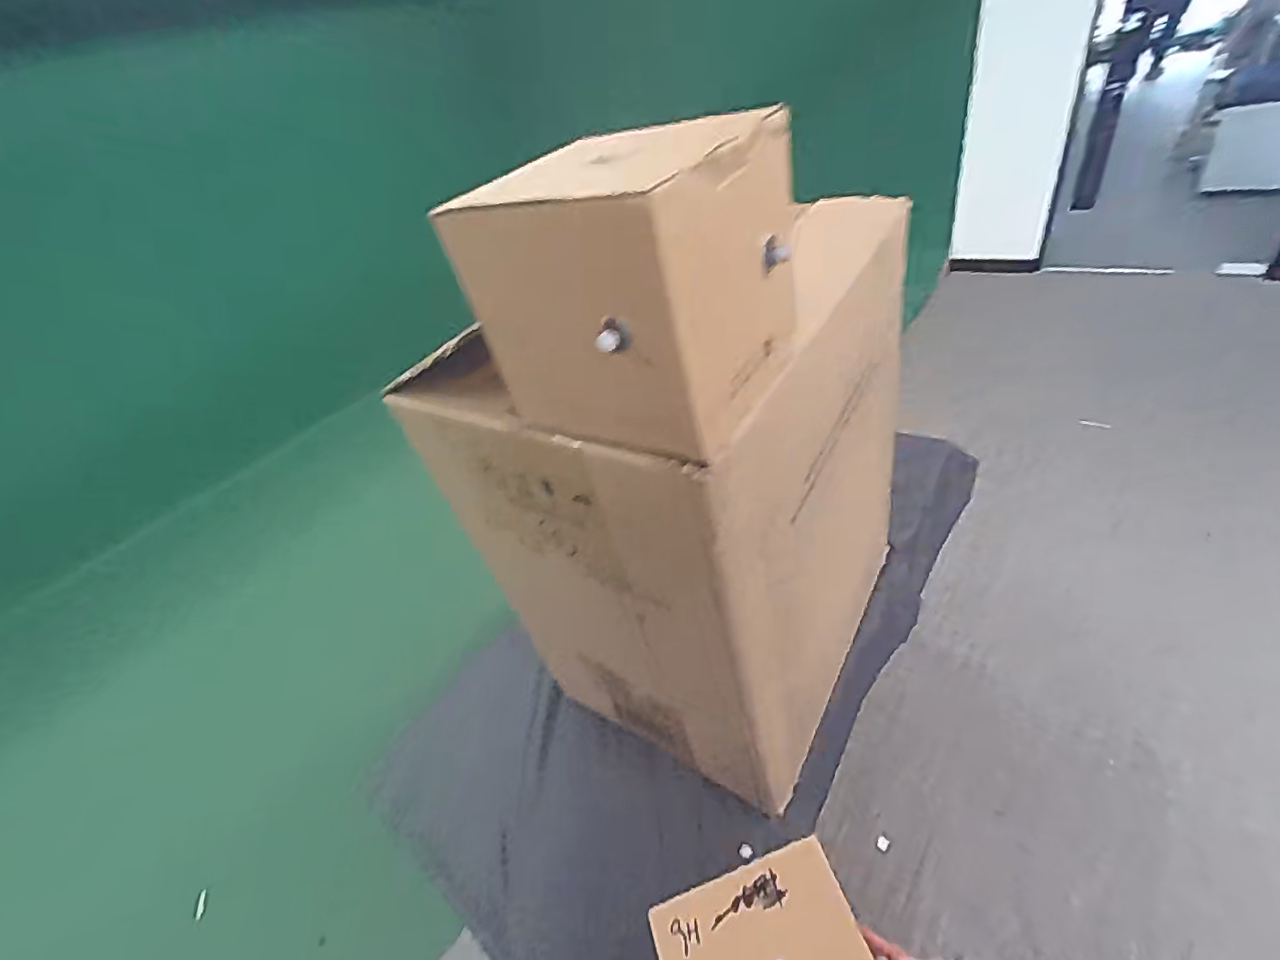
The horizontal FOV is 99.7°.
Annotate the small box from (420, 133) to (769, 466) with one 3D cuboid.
[{"bbox_3d":[-0.017,-0.131,0.407,0.179,0.176,0.168,14,48,34],"label":"small box"}]
